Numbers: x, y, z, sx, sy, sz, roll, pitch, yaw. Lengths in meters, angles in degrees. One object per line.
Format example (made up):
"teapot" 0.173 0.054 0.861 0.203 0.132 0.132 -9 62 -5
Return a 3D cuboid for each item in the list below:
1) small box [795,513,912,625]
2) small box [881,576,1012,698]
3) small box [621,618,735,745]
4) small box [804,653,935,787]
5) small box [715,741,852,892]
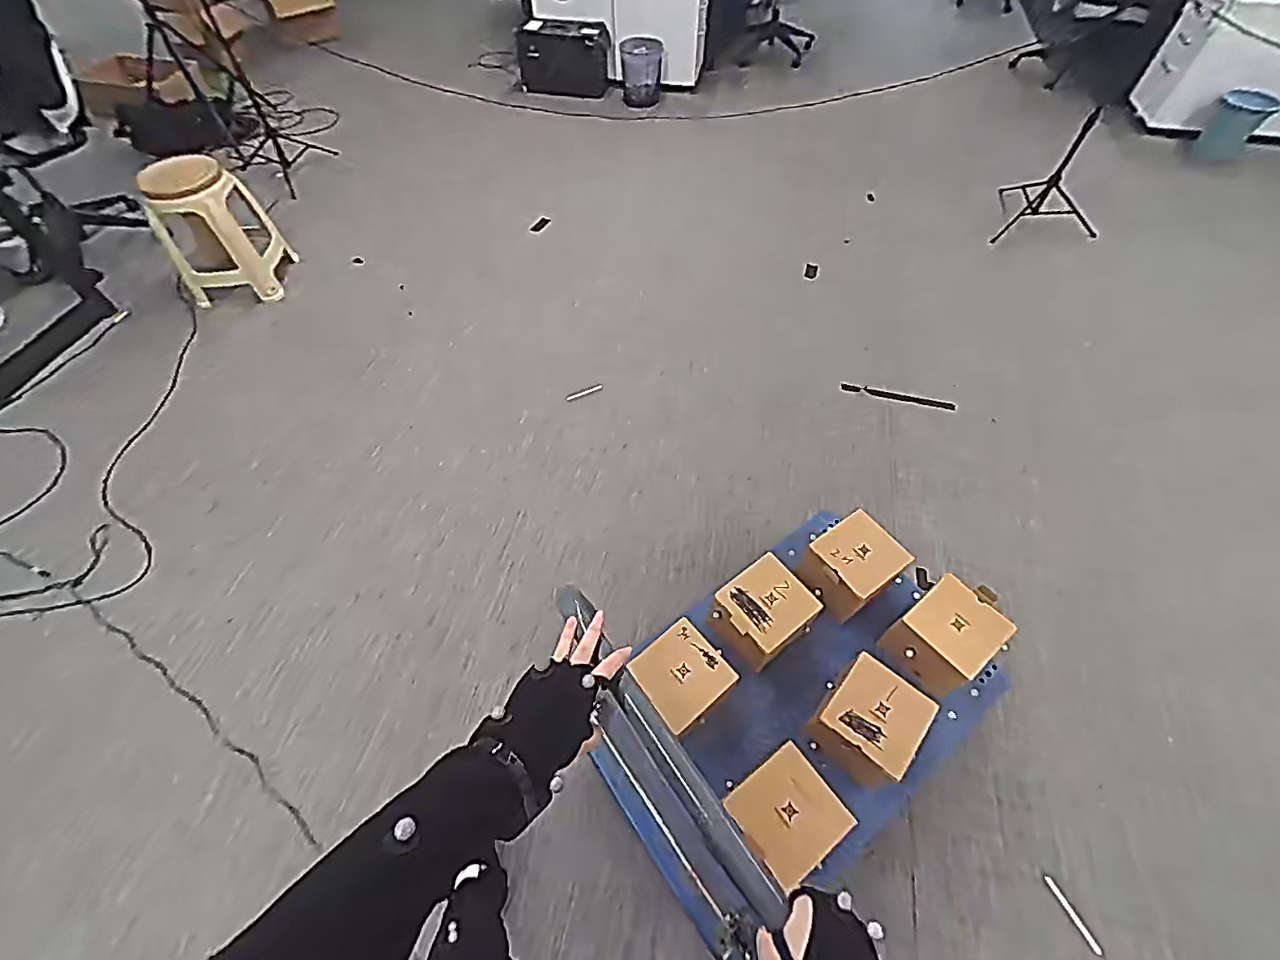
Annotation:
"small box" 0.502 0.216 1.300 0.179 0.176 0.168 -29 60 -18
"small box" 0.668 0.354 1.207 0.179 0.176 0.168 -33 61 -21
"small box" 0.078 0.433 1.151 0.179 0.176 0.168 -34 63 -21
"small box" 0.457 0.497 1.109 0.168 0.176 0.179 37 62 22
"small box" 0.257 0.631 1.018 0.179 0.176 0.168 -30 61 -20
